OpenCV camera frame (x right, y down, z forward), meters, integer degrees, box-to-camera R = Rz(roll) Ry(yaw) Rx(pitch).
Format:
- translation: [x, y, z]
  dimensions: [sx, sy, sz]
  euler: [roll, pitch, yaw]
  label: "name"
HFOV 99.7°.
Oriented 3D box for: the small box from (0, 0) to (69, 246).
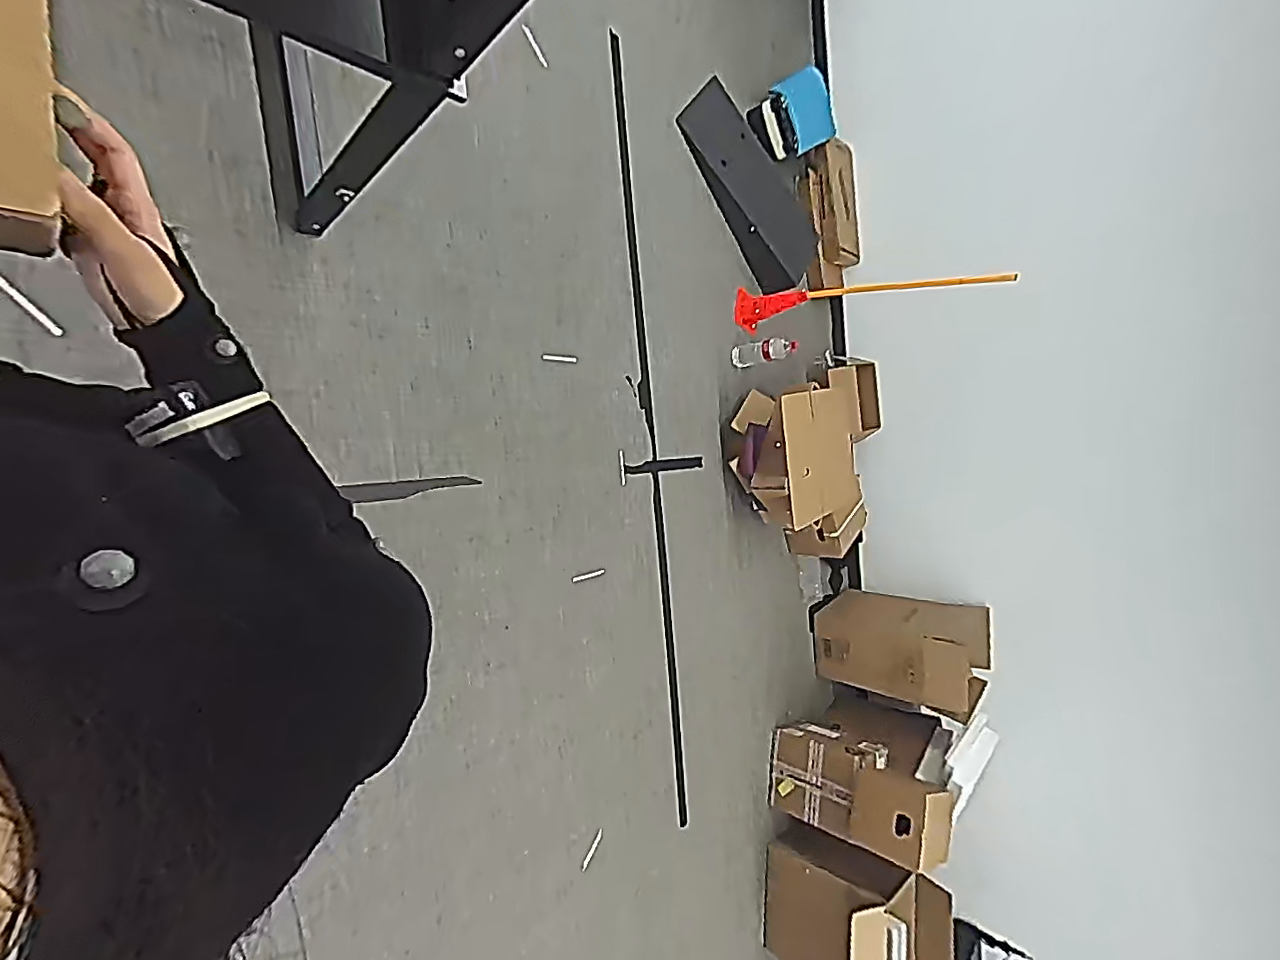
- translation: [-0.387, -0.221, 0.249]
  dimensions: [0.168, 0.176, 0.179]
  euler: [-4, 105, -48]
  label: "small box"
